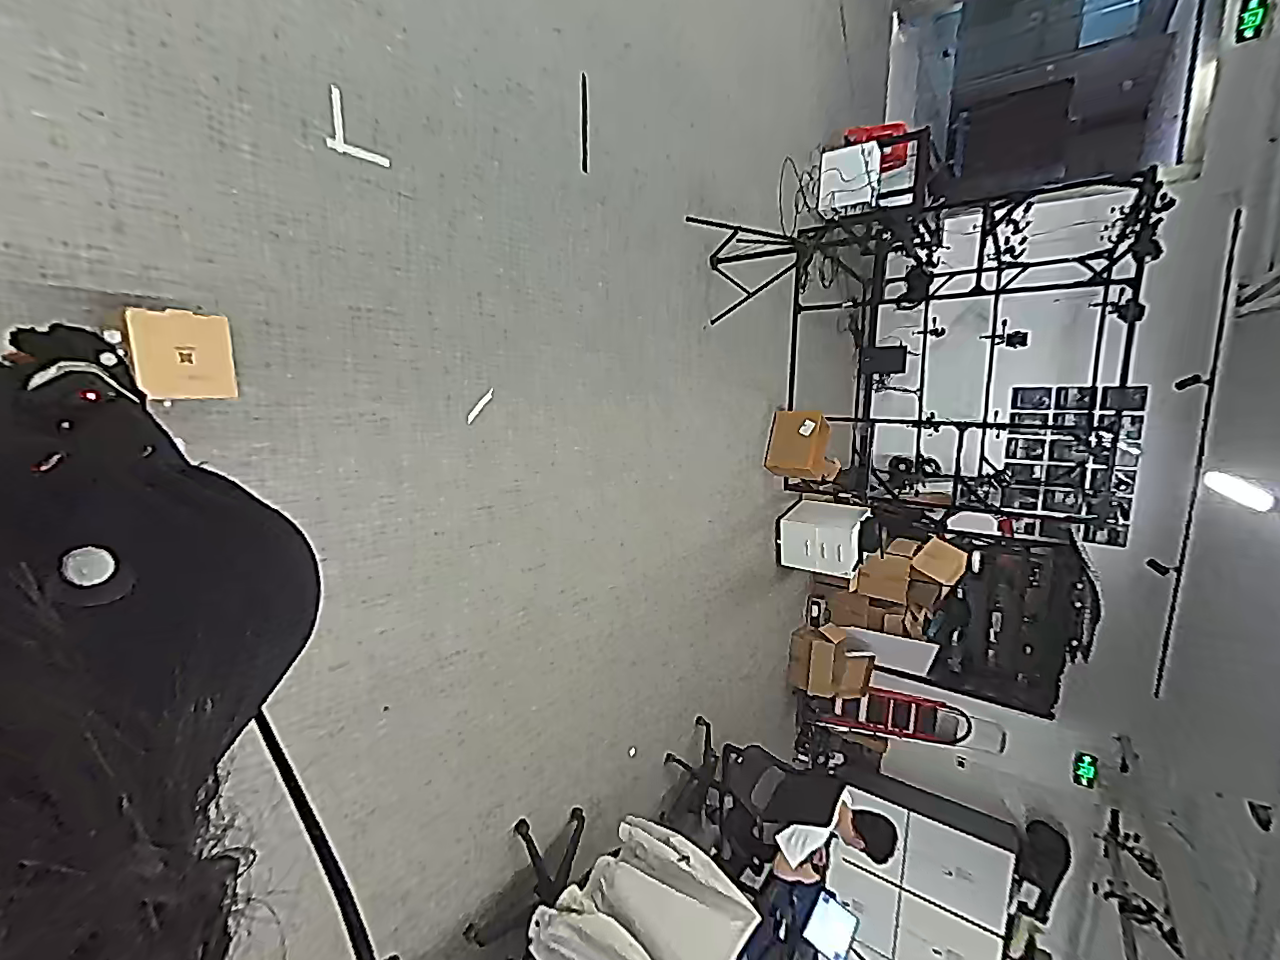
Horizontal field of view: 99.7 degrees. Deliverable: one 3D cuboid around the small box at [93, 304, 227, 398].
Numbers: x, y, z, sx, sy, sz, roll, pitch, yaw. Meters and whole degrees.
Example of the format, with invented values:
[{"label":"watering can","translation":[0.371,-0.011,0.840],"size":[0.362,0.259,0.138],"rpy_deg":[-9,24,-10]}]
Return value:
[{"label":"small box","translation":[-0.996,-0.260,1.124],"size":[0.168,0.176,0.179],"rpy_deg":[-13,107,-53]}]
